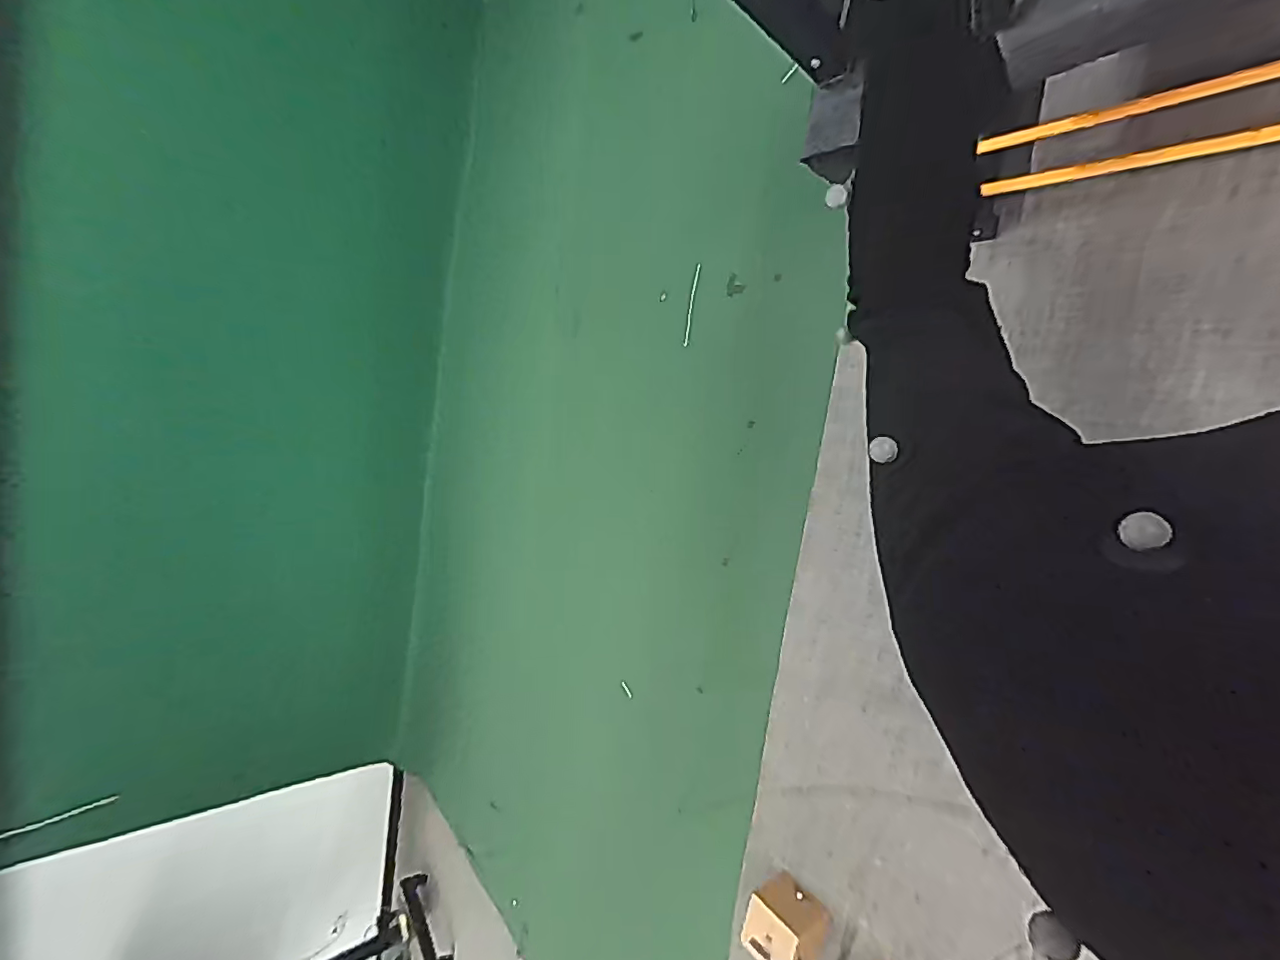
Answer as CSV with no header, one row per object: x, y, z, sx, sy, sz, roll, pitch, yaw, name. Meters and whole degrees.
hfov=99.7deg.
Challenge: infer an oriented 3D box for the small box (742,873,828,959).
0.432,1.326,1.601,0.168,0.176,0.179,21,102,47,small box
